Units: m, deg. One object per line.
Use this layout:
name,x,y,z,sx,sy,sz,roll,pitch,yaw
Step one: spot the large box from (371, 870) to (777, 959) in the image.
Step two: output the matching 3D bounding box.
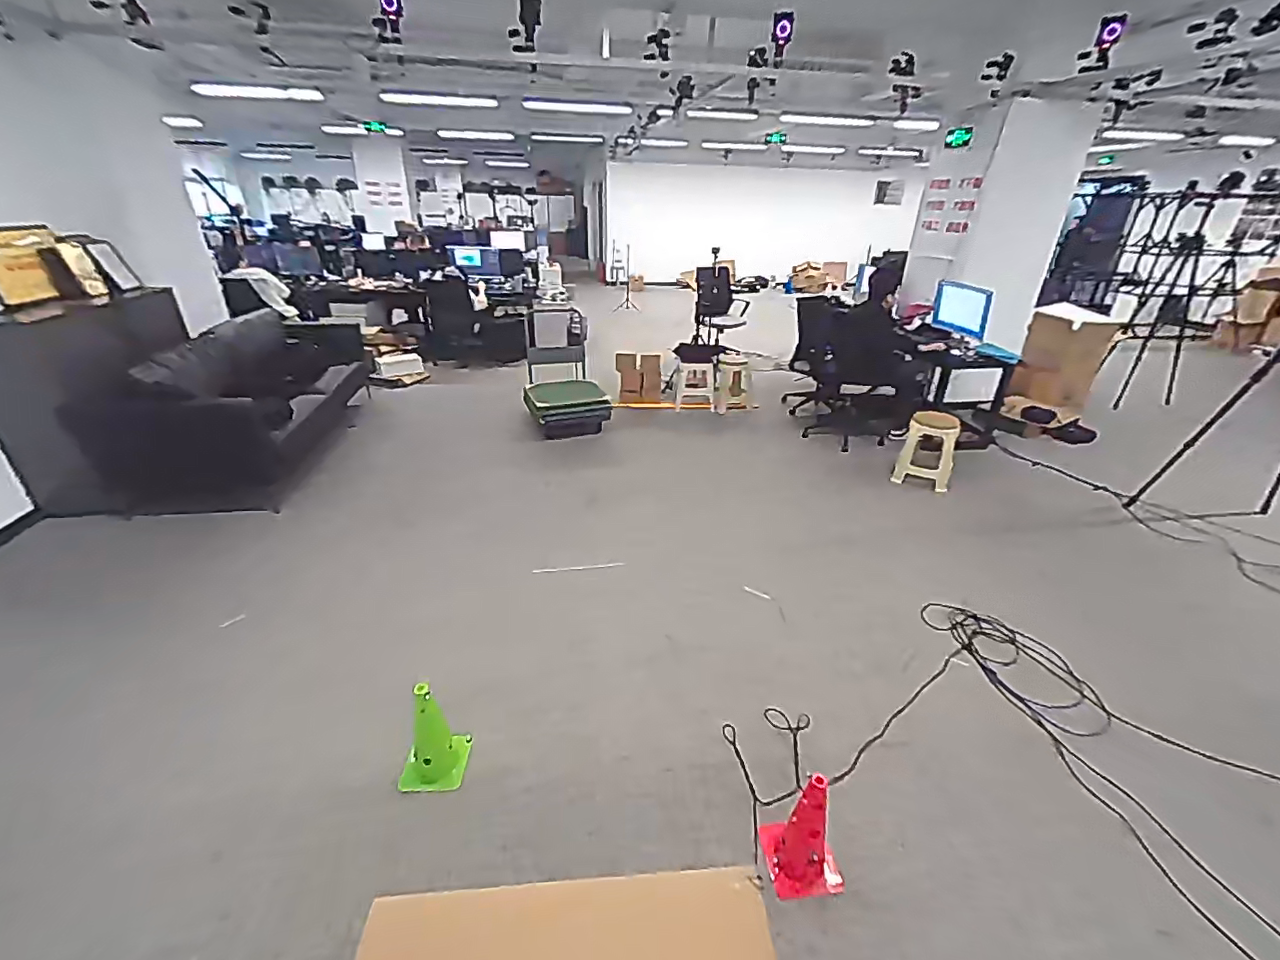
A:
large box,-0.058,0.645,0.534,0.408,0.320,0.320,-2,35,-4

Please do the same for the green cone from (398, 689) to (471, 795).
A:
green cone,-0.684,0.808,1.738,0.200,0.368,0.202,0,28,-3
